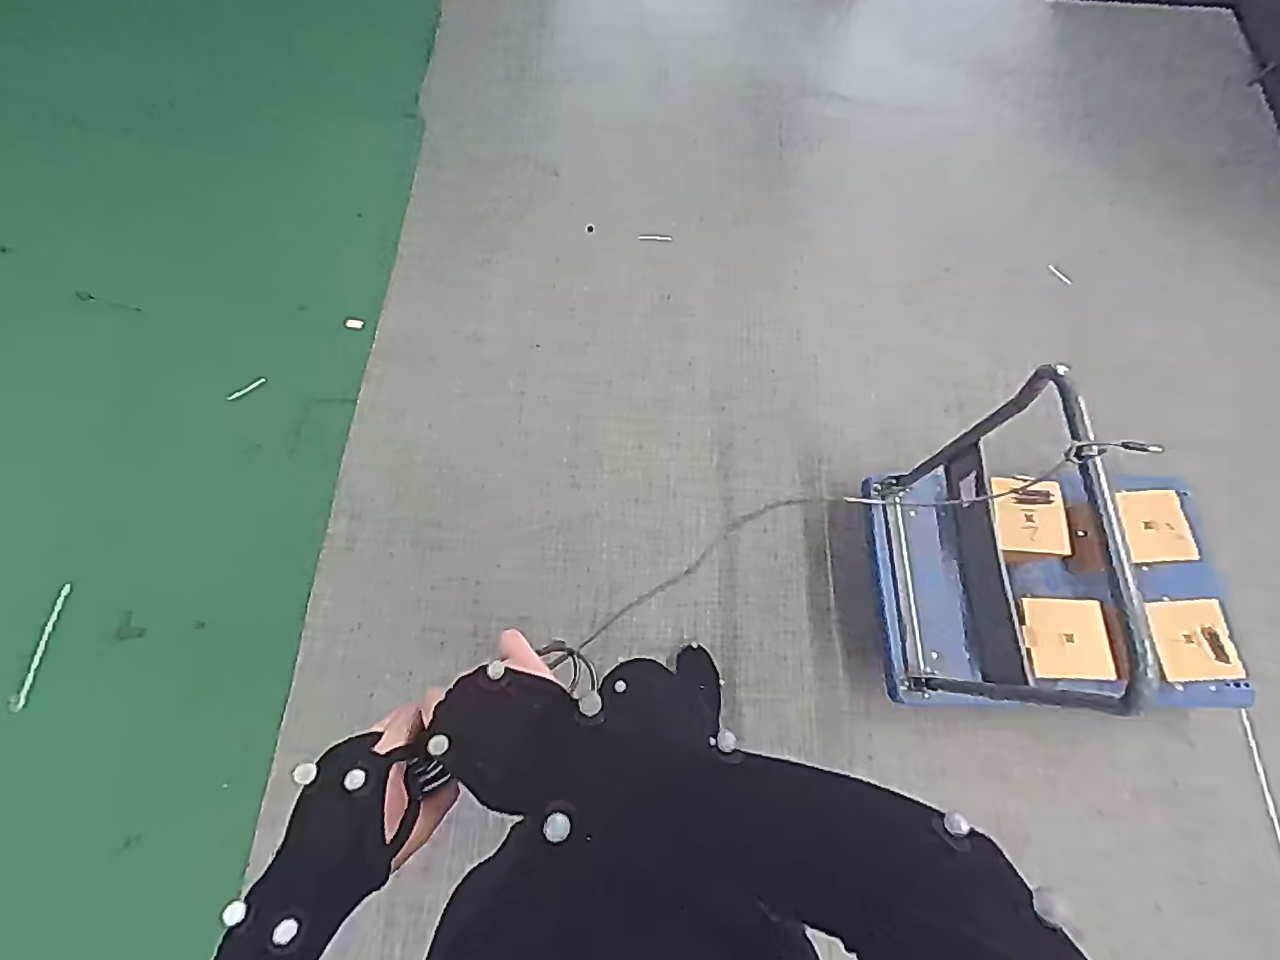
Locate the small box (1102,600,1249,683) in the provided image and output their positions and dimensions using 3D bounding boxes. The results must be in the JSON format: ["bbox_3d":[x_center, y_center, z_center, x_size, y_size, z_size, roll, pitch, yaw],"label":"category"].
[{"bbox_3d":[1.181,0.366,1.225,0.179,0.176,0.168,-3,70,-1],"label":"small box"}]

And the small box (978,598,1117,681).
[{"bbox_3d":[0.910,0.363,1.224,0.179,0.176,0.168,2,71,0],"label":"small box"}]

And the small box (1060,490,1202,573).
[{"bbox_3d":[1.166,0.129,1.307,0.179,0.176,0.168,-3,72,-2],"label":"small box"}]
